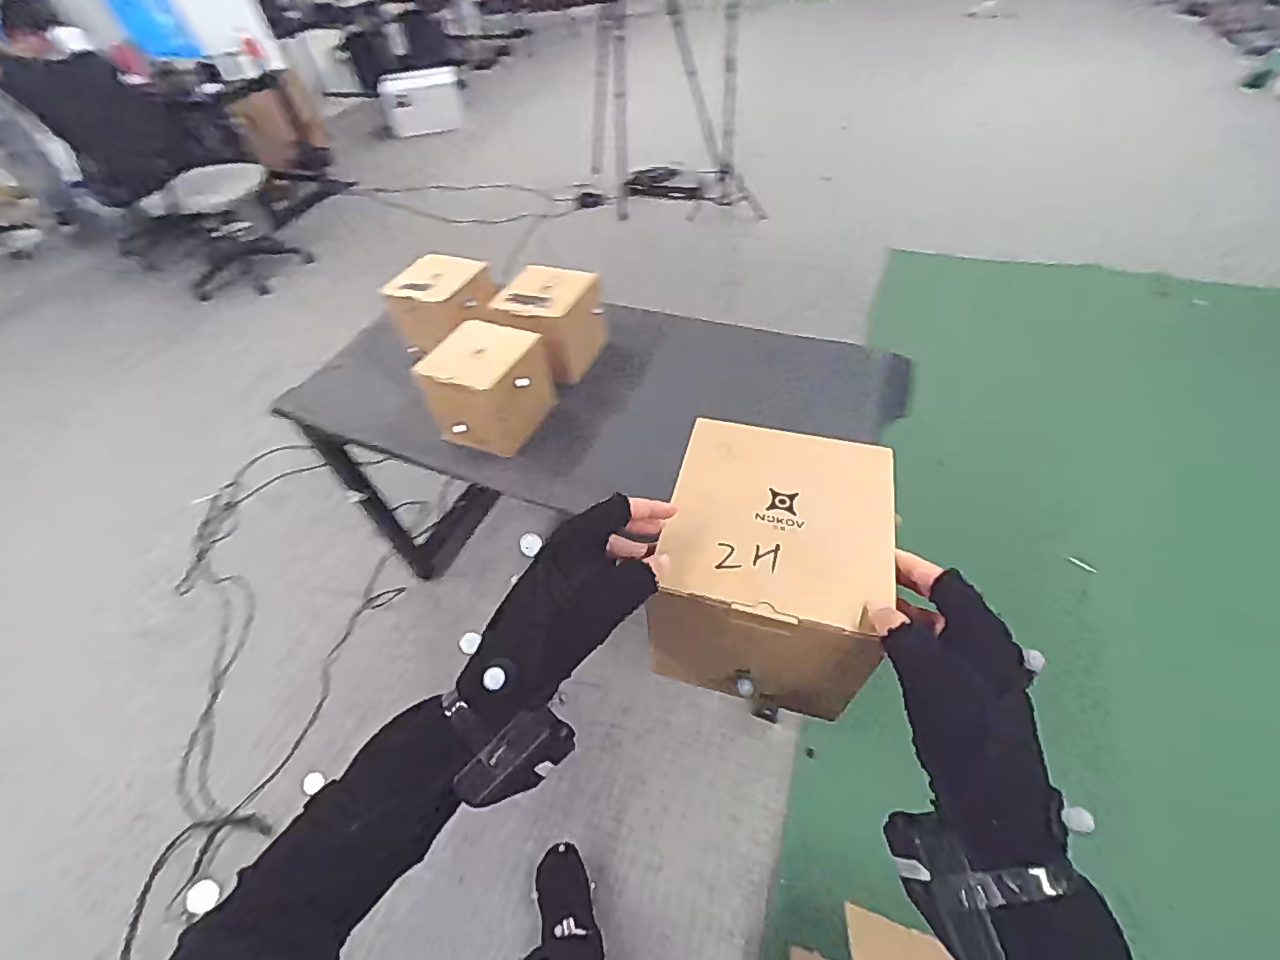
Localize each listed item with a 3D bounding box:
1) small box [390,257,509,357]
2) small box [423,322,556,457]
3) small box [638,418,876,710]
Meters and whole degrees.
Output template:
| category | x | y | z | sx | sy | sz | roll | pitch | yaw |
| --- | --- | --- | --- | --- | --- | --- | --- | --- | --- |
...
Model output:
| category | x | y | z | sx | sy | sz | roll | pitch | yaw |
| --- | --- | --- | --- | --- | --- | --- | --- | --- | --- |
| small box | -0.427 | -0.386 | 1.248 | 0.168 | 0.176 | 0.179 | 16 | 52 | 19 |
| small box | -0.279 | -0.176 | 1.053 | 0.168 | 0.176 | 0.179 | 17 | 52 | 19 |
| small box | 0.100 | 0.073 | 0.479 | 0.168 | 0.176 | 0.179 | 9 | 50 | 12 |
